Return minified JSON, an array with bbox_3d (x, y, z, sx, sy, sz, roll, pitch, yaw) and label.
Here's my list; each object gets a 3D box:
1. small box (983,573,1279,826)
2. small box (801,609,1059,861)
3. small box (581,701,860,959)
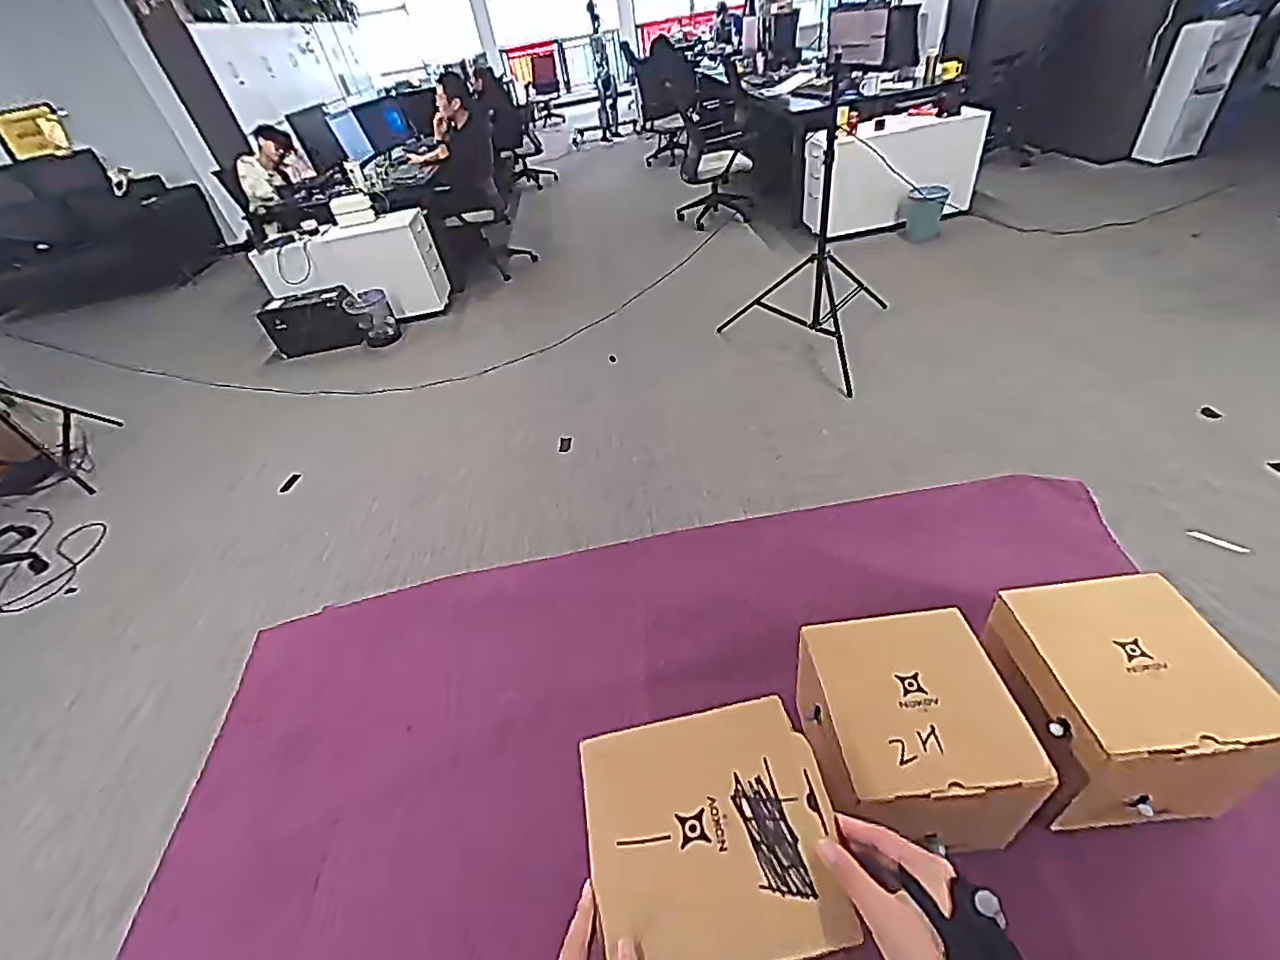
[{"bbox_3d":[0.476,0.223,0.554,0.168,0.176,0.179,-9,40,4],"label":"small box"},{"bbox_3d":[0.270,0.261,0.559,0.168,0.176,0.179,-9,40,4],"label":"small box"},{"bbox_3d":[0.055,0.315,0.458,0.179,0.176,0.168,-12,45,-1],"label":"small box"}]
